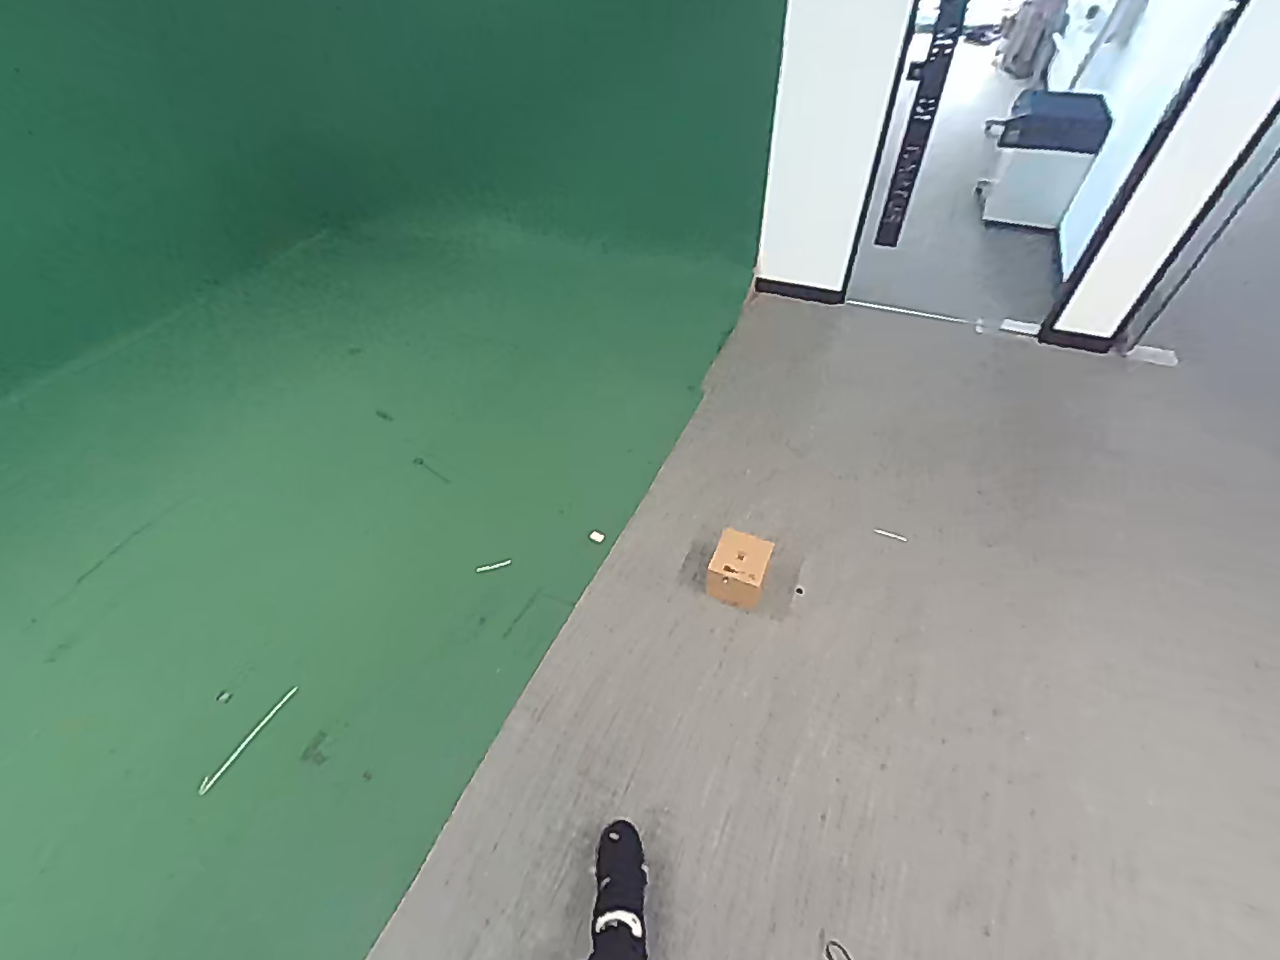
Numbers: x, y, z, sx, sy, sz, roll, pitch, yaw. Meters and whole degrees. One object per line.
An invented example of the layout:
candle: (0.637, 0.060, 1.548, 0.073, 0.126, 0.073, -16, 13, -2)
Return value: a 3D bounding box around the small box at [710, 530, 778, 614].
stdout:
small box: (0.330, 0.298, 1.742, 0.168, 0.176, 0.179, 17, 51, 20)
